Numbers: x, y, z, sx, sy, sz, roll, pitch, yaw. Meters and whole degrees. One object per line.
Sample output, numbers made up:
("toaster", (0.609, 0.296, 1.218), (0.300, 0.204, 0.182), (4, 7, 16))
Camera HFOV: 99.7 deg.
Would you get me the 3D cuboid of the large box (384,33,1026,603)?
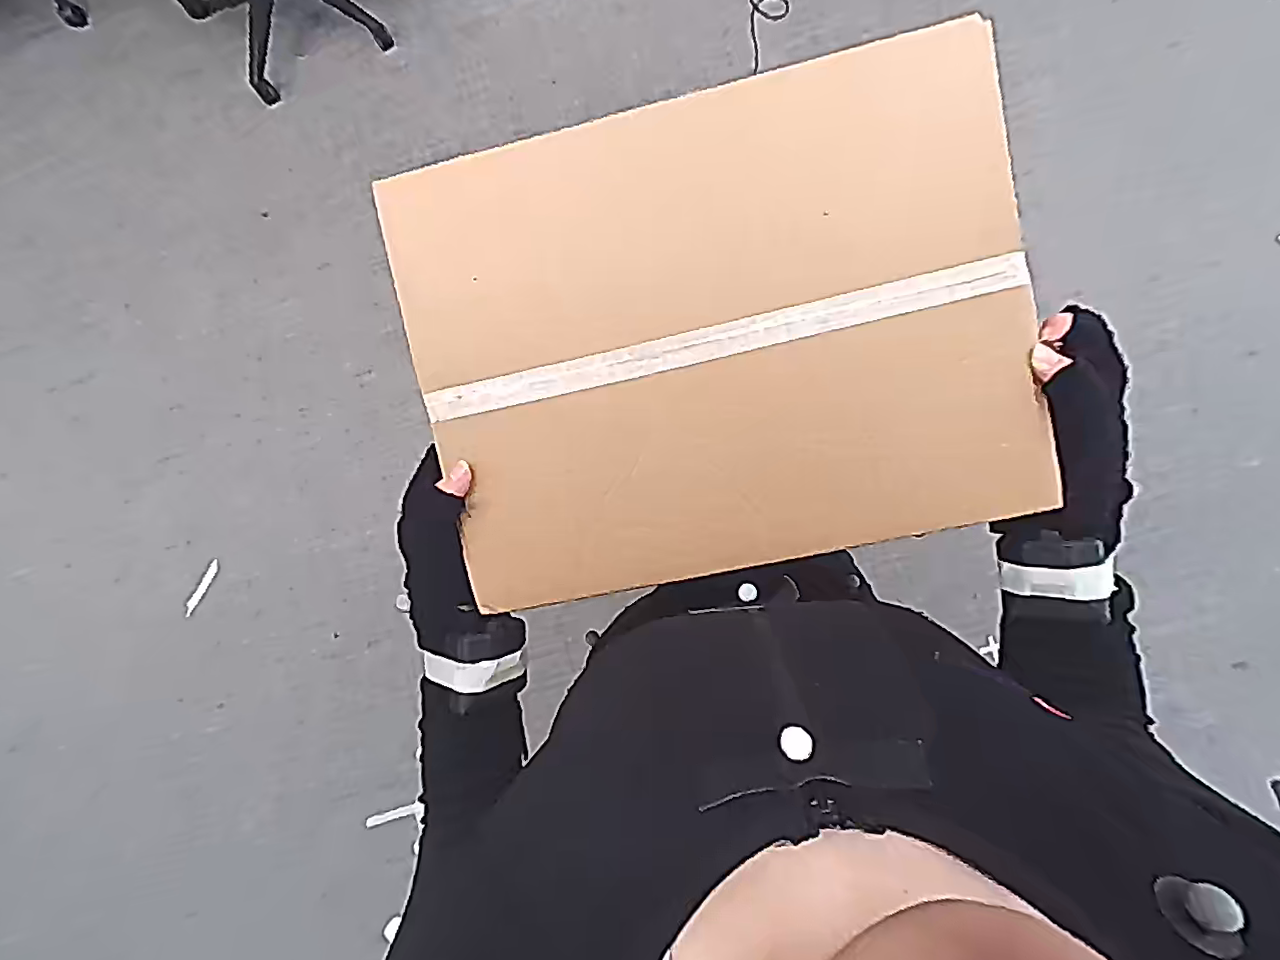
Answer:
("large box", (0.055, -0.113, 0.523), (0.408, 0.320, 0.320), (-12, 95, 6))
